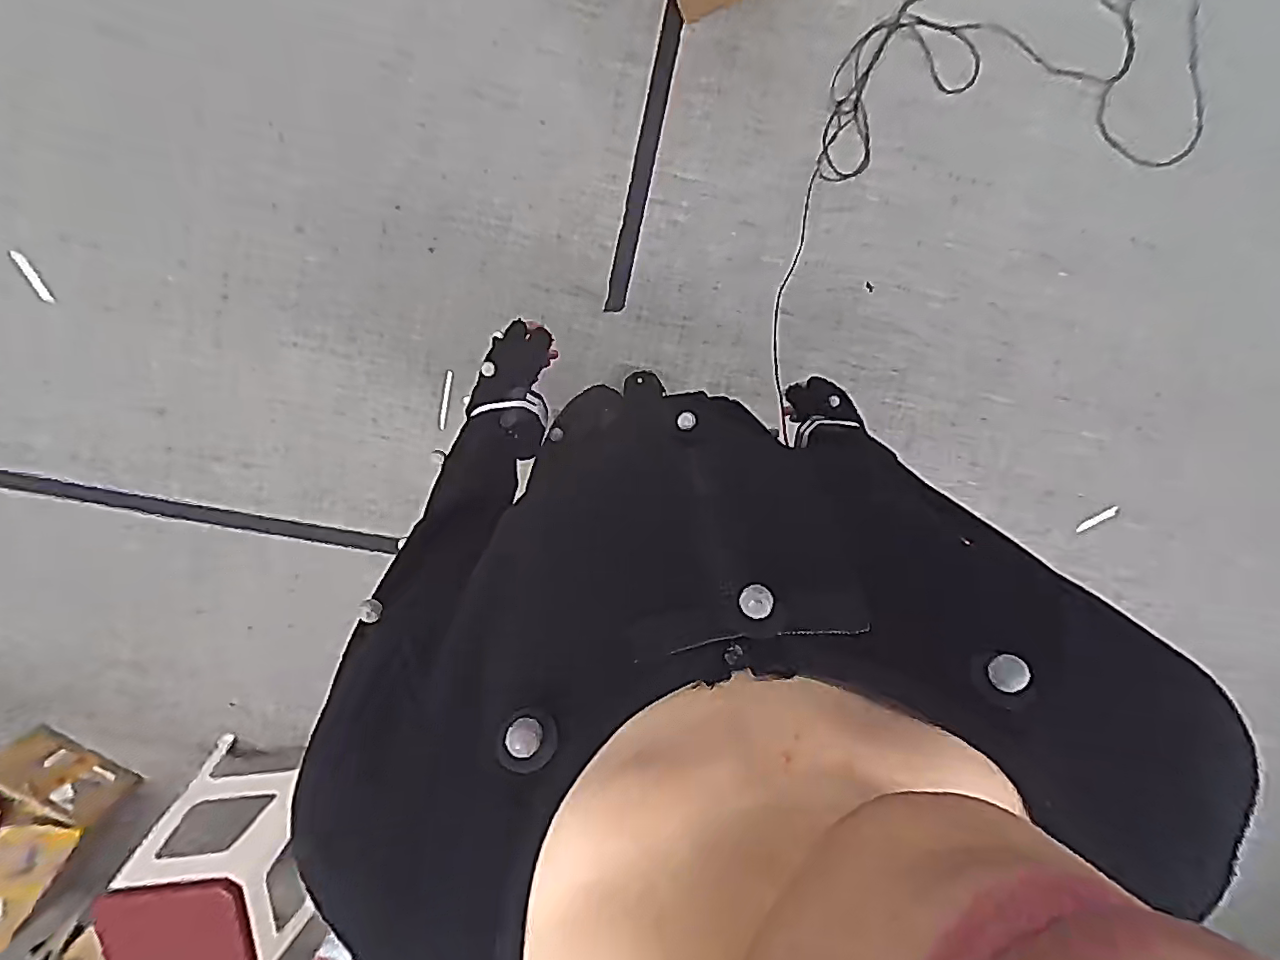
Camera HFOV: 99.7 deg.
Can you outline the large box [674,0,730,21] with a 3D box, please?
[{"bbox_3d":[0.163,-1.319,1.125,0.320,0.320,0.408,-27,101,2],"label":"large box"}]
